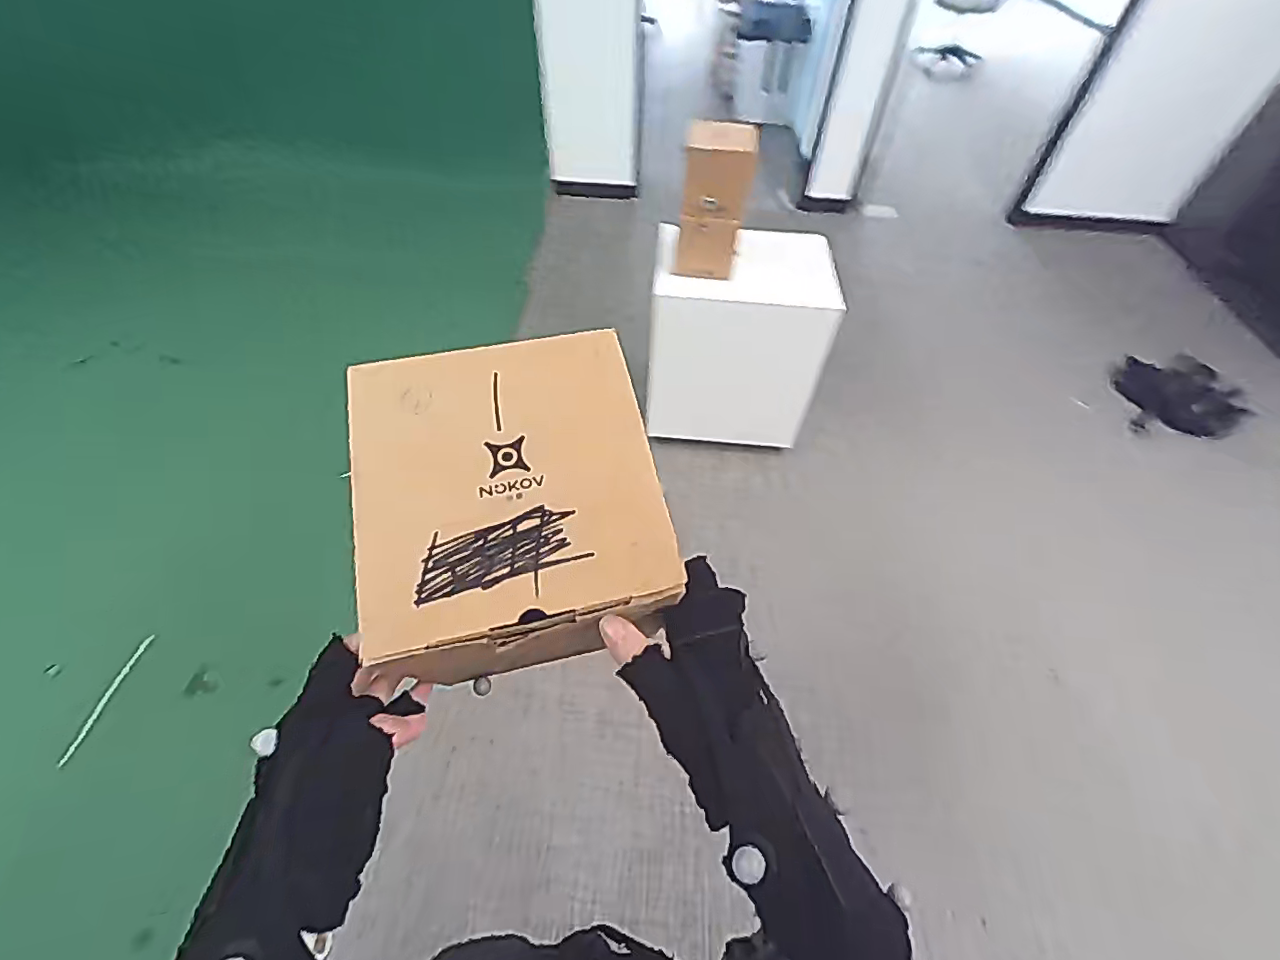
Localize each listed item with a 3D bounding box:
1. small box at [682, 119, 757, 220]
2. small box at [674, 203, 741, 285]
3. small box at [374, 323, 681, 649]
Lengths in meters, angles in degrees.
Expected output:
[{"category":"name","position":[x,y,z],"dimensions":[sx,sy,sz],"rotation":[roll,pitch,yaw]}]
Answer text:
[{"category":"small box","position":[0.199,-0.794,1.384],"dimensions":[0.168,0.176,0.179],"rotation":[5,52,1]},{"category":"small box","position":[0.188,-0.677,1.519],"dimensions":[0.168,0.176,0.179],"rotation":[7,50,3]},{"category":"small box","position":[-0.076,0.017,0.391],"dimensions":[0.168,0.176,0.179],"rotation":[-9,66,-9]}]
